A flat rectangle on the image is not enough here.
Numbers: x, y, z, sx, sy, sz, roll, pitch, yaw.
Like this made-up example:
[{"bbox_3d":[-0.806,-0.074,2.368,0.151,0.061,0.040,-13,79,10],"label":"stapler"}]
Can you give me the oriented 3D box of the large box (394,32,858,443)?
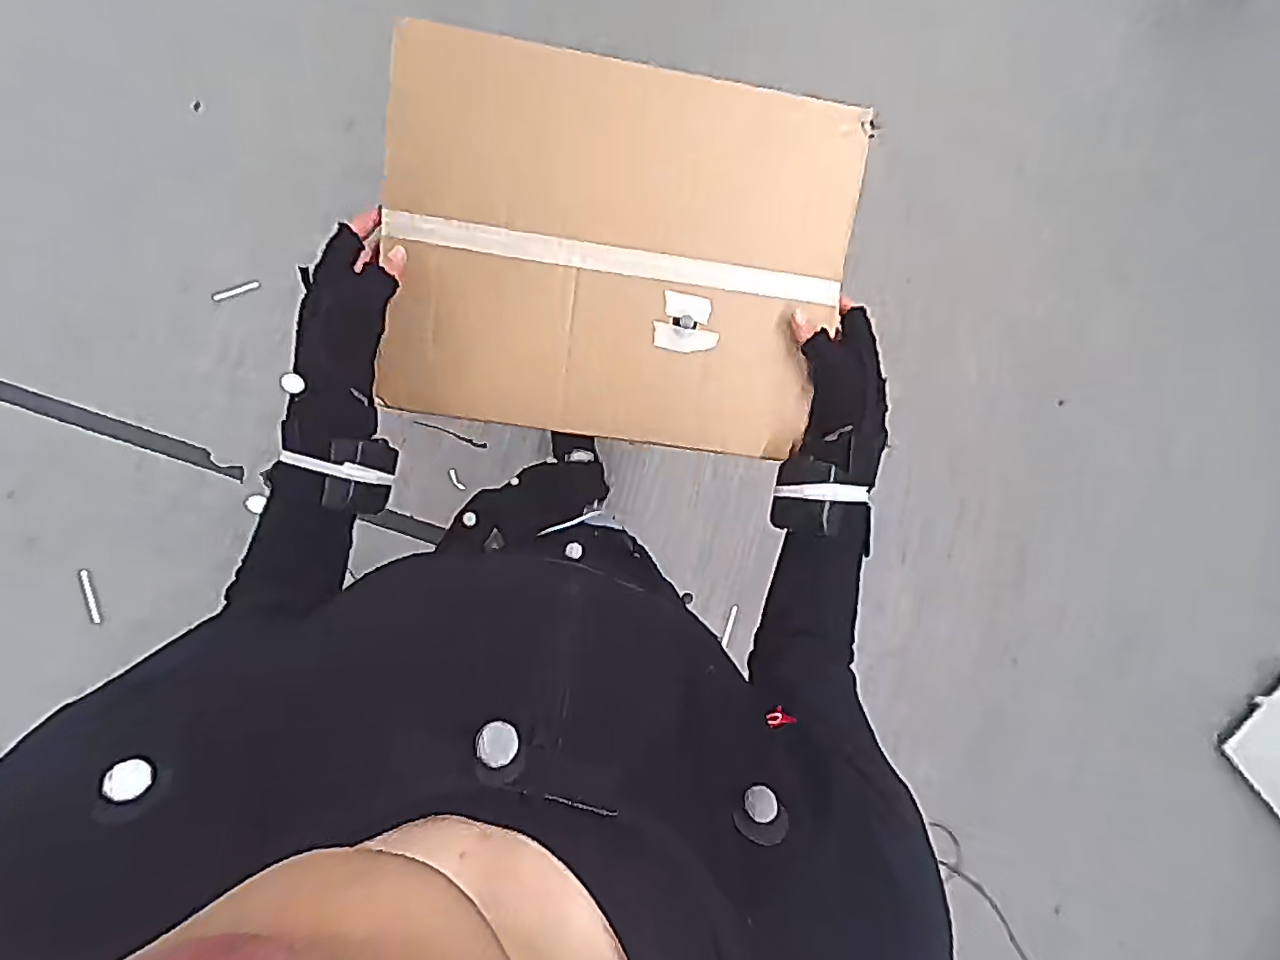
[{"bbox_3d":[-0.028,-0.233,0.642,0.408,0.320,0.320,7,100,-6],"label":"large box"}]
